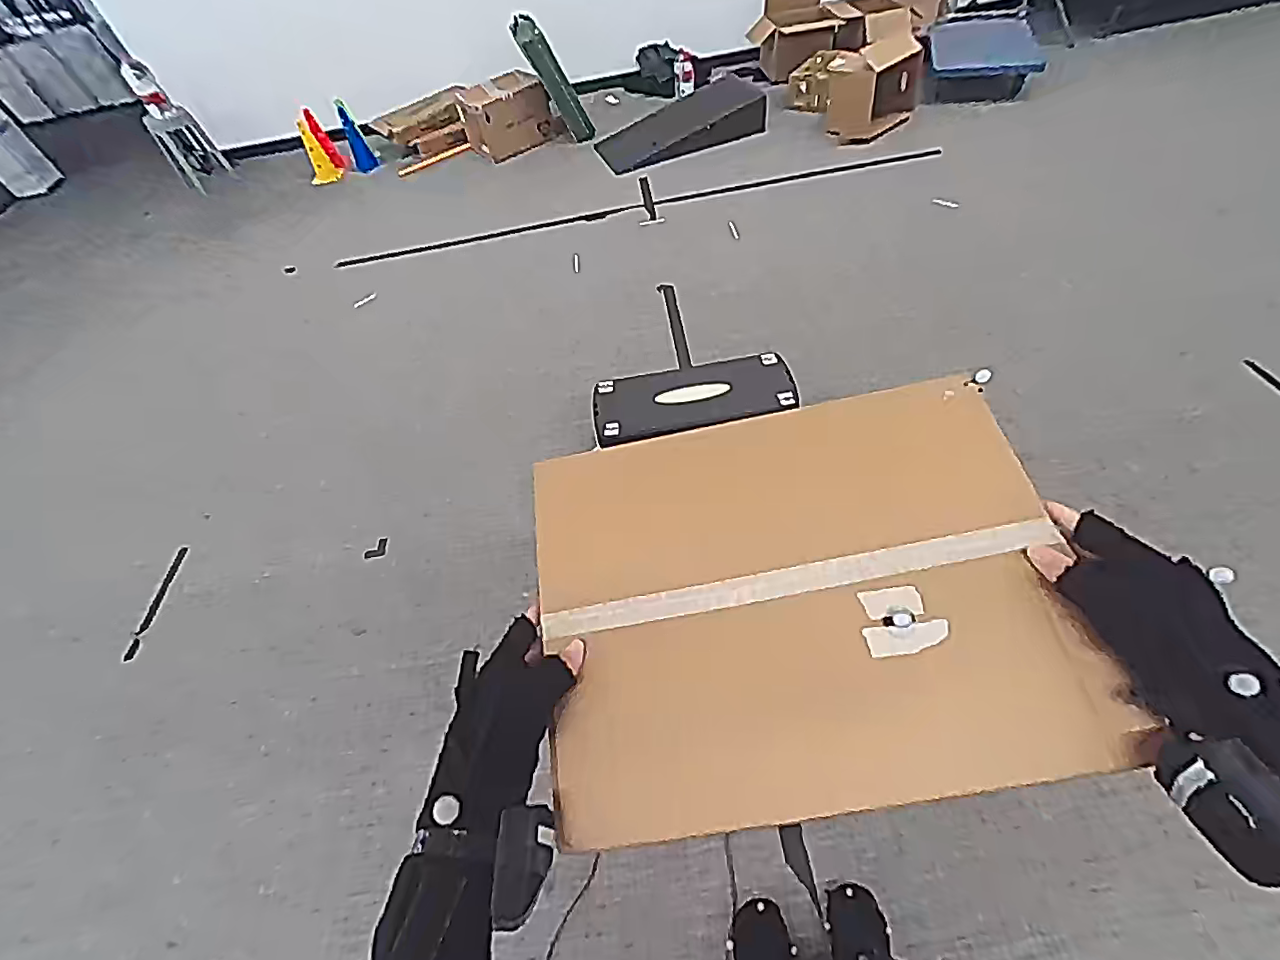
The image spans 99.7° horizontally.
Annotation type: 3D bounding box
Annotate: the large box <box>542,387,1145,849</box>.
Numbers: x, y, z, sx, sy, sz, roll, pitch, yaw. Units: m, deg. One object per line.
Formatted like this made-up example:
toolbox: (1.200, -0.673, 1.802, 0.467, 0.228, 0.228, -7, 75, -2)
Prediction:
large box: (0.143, 0.155, 0.570, 0.408, 0.320, 0.320, -12, 62, 4)

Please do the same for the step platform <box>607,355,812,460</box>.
step platform: (0.228, -0.222, 1.854, 0.684, 0.204, 0.286, -10, 52, 1)
